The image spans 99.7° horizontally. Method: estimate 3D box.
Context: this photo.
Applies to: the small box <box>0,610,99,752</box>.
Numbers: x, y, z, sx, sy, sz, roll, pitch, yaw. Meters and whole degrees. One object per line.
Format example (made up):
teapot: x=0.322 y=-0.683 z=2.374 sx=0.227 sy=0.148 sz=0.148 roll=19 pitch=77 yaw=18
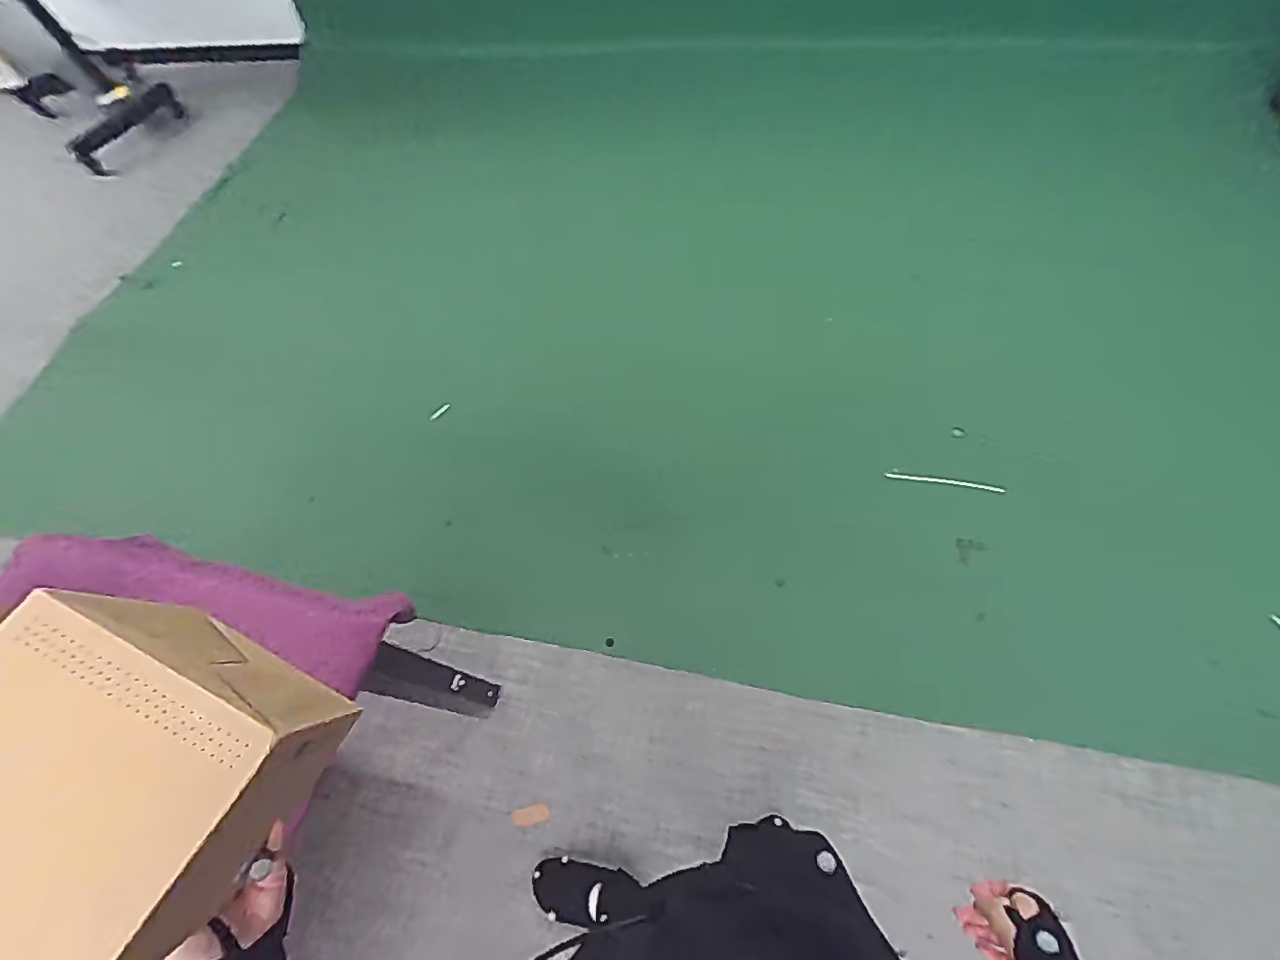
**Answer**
small box: x=-0.890 y=0.253 z=0.699 sx=0.179 sy=0.176 sz=0.168 roll=5 pitch=64 yaw=7
